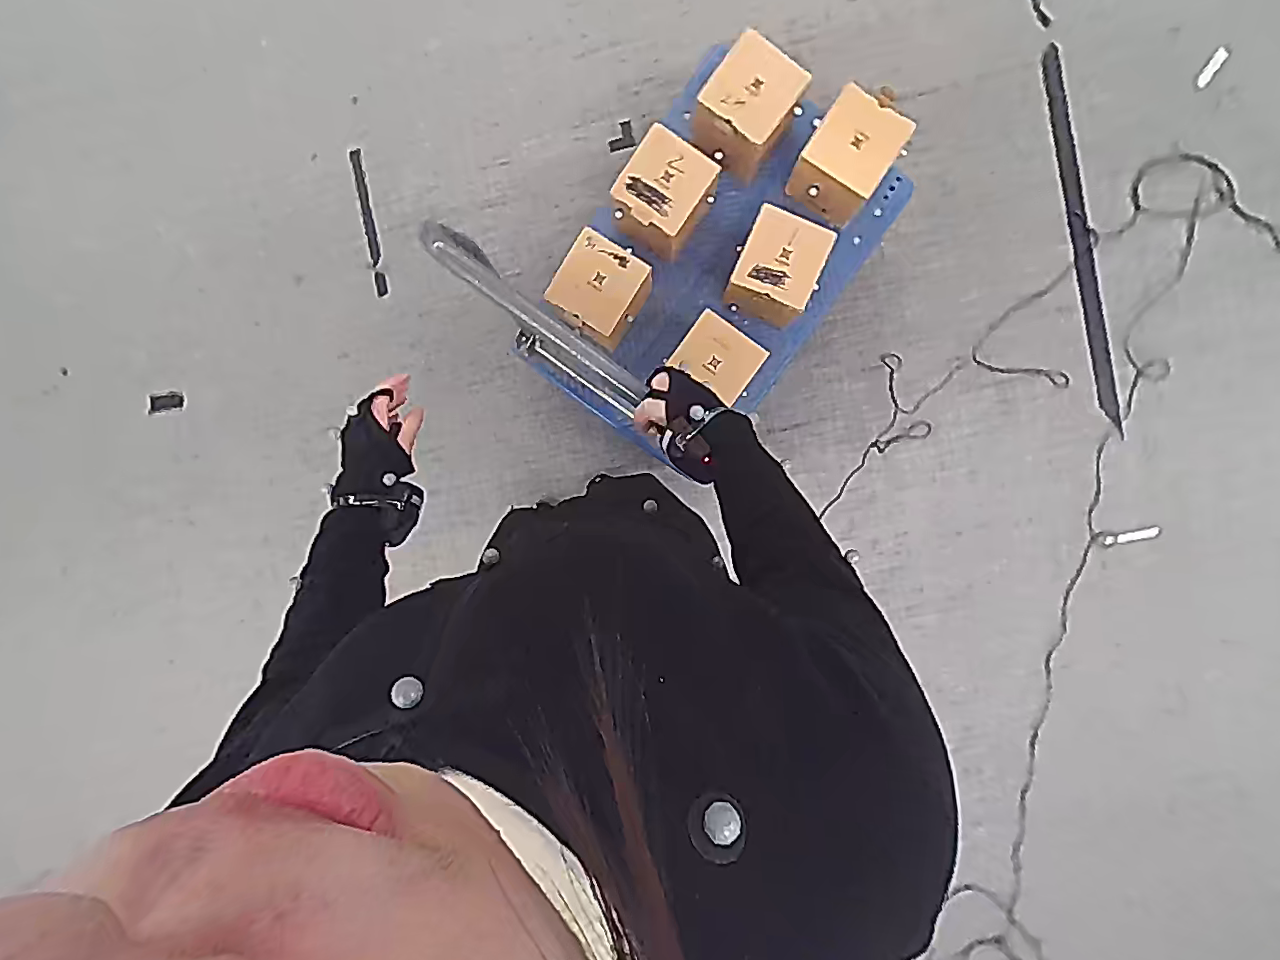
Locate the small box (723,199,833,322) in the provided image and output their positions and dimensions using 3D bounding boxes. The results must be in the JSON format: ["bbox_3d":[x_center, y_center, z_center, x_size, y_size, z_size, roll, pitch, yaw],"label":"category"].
[{"bbox_3d":[0.293,-0.471,1.195,0.168,0.176,0.179,24,93,0],"label":"small box"}]

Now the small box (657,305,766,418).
[{"bbox_3d":[0.155,-0.254,1.214,0.168,0.176,0.179,36,93,-1],"label":"small box"}]

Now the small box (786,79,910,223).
[{"bbox_3d":[0.437,-0.702,1.177,0.168,0.176,0.179,33,94,0],"label":"small box"}]

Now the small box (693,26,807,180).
[{"bbox_3d":[0.226,-0.806,1.175,0.168,0.176,0.179,37,95,-1],"label":"small box"}]

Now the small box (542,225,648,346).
[{"bbox_3d":[-0.091,-0.422,1.210,0.168,0.176,0.179,32,94,-1],"label":"small box"}]
